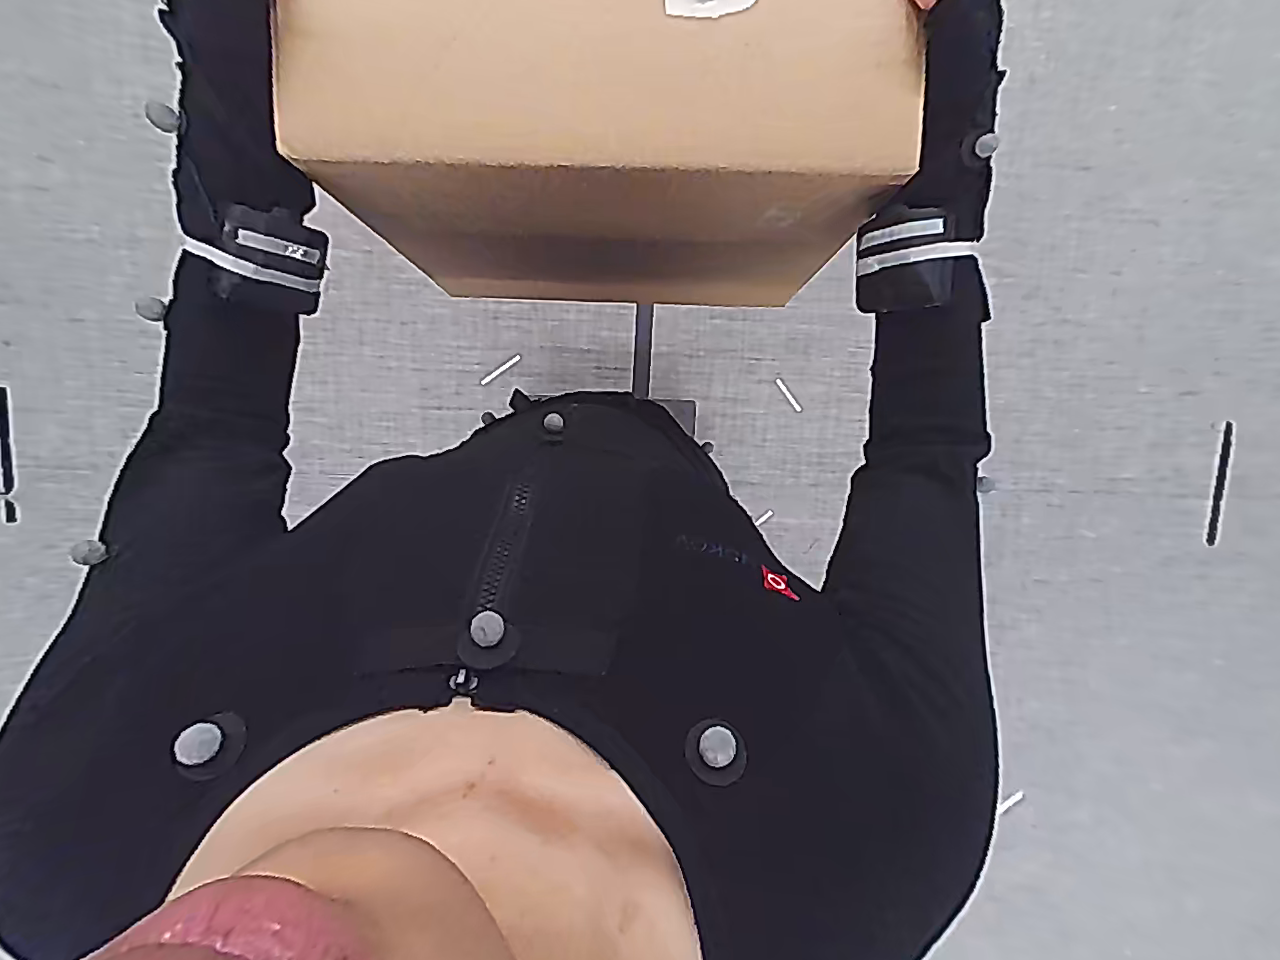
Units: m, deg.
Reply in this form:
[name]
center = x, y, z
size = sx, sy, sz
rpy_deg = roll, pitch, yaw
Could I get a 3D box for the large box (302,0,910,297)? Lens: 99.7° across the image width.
[large box]
center = -0.022, -0.367, 0.500
size = 0.408, 0.320, 0.320
rpy_deg = 1, 93, -1
